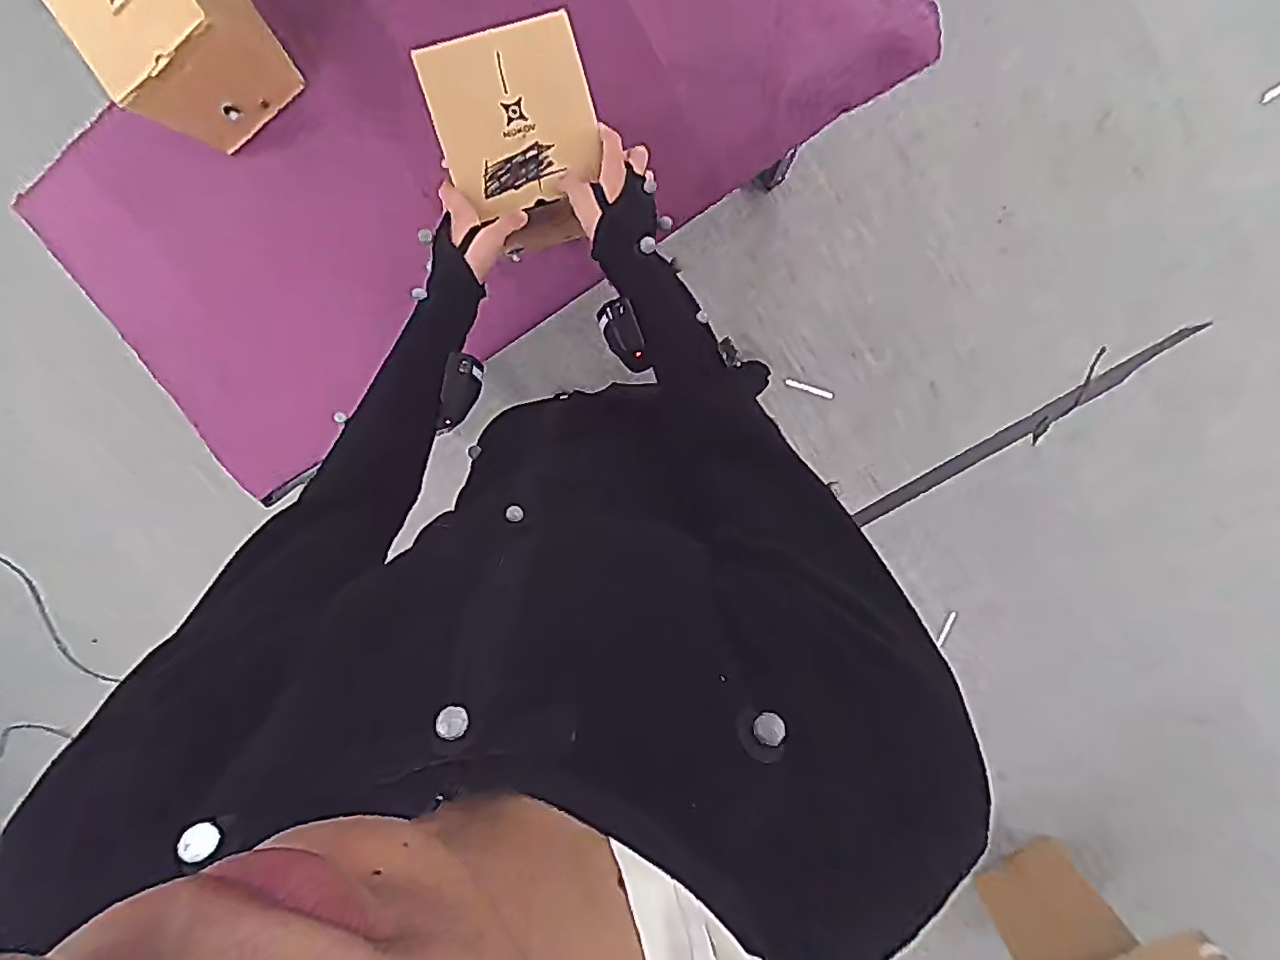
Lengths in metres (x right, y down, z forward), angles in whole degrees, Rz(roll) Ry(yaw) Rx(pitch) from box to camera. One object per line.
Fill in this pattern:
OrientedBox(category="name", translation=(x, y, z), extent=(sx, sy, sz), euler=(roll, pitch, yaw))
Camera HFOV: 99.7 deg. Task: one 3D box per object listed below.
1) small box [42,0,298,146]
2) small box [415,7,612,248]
OrientedBox(category="small box", translation=(-0.613, -0.592, 0.715), extent=(0.168, 0.176, 0.179), euler=(-31, 99, 12))
OrientedBox(category="small box", translation=(-0.132, -0.390, 0.638), extent=(0.168, 0.176, 0.179), euler=(-16, 102, -2))
